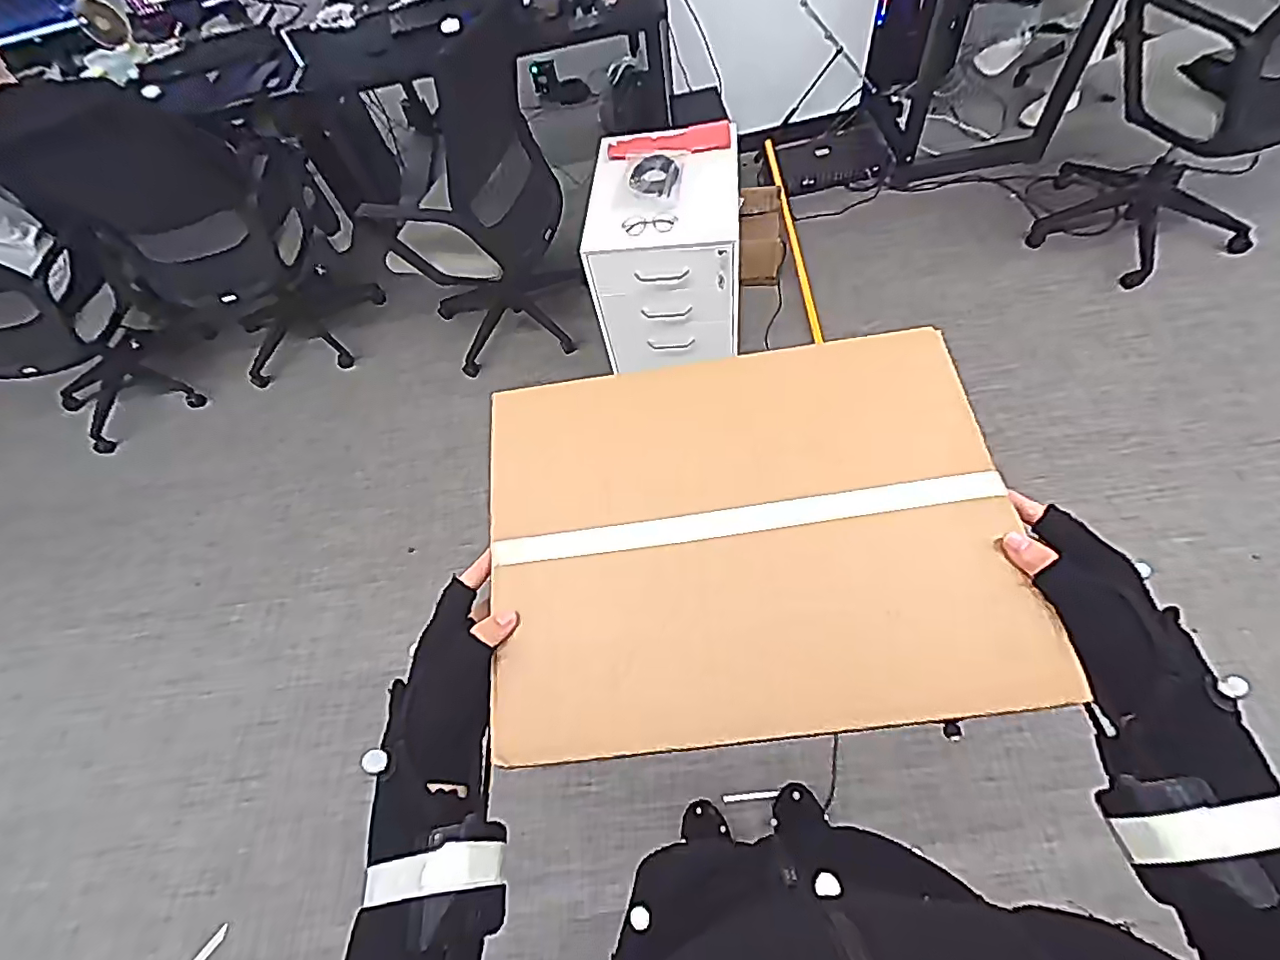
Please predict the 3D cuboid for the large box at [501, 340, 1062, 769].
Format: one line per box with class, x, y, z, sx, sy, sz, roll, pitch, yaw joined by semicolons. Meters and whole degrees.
large box;0.100;0.098;0.578;0.408;0.320;0.320;-9;65;4
